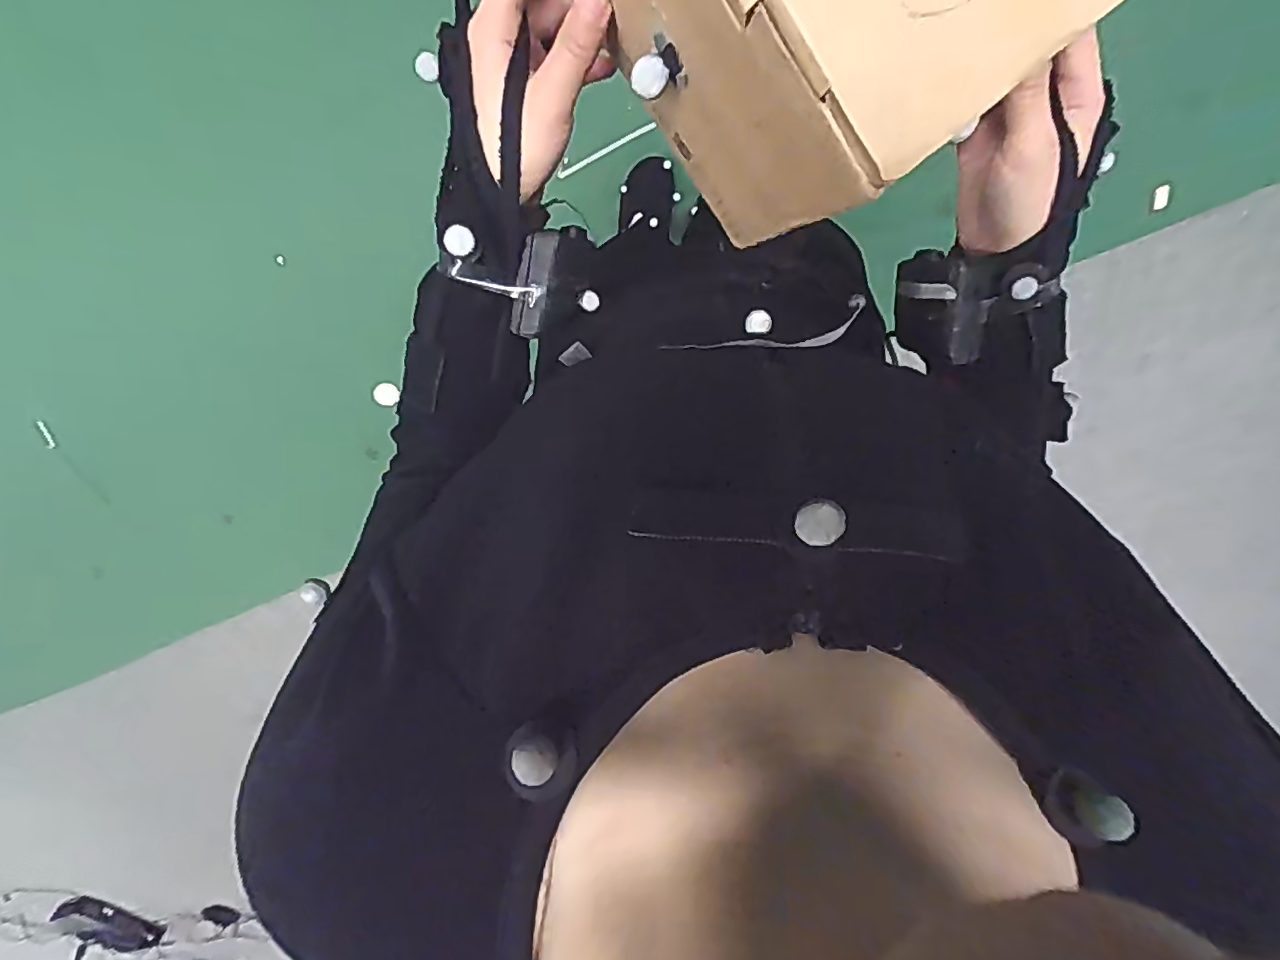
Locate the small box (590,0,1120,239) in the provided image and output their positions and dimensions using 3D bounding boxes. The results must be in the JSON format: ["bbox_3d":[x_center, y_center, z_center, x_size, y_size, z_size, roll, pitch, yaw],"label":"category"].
[{"bbox_3d":[0.079,-0.215,0.199,0.179,0.176,0.168,-37,106,9],"label":"small box"}]
